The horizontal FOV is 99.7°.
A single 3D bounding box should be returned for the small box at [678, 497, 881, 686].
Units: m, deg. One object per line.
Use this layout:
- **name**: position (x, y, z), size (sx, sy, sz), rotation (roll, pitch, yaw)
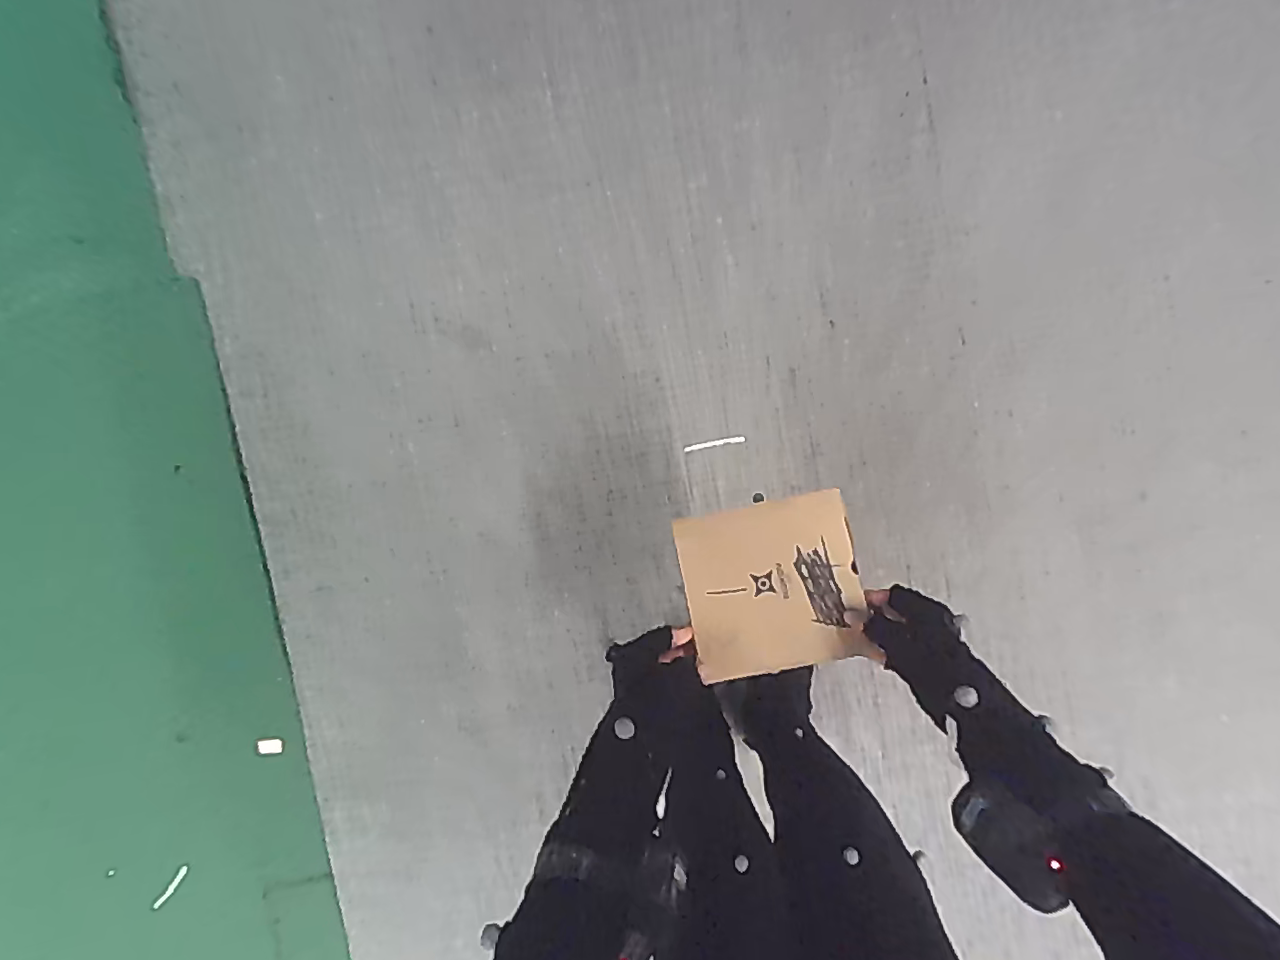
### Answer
- **small box**: position (0.144, 0.124, 0.624), size (0.179, 0.176, 0.168), rotation (-12, 78, 3)
